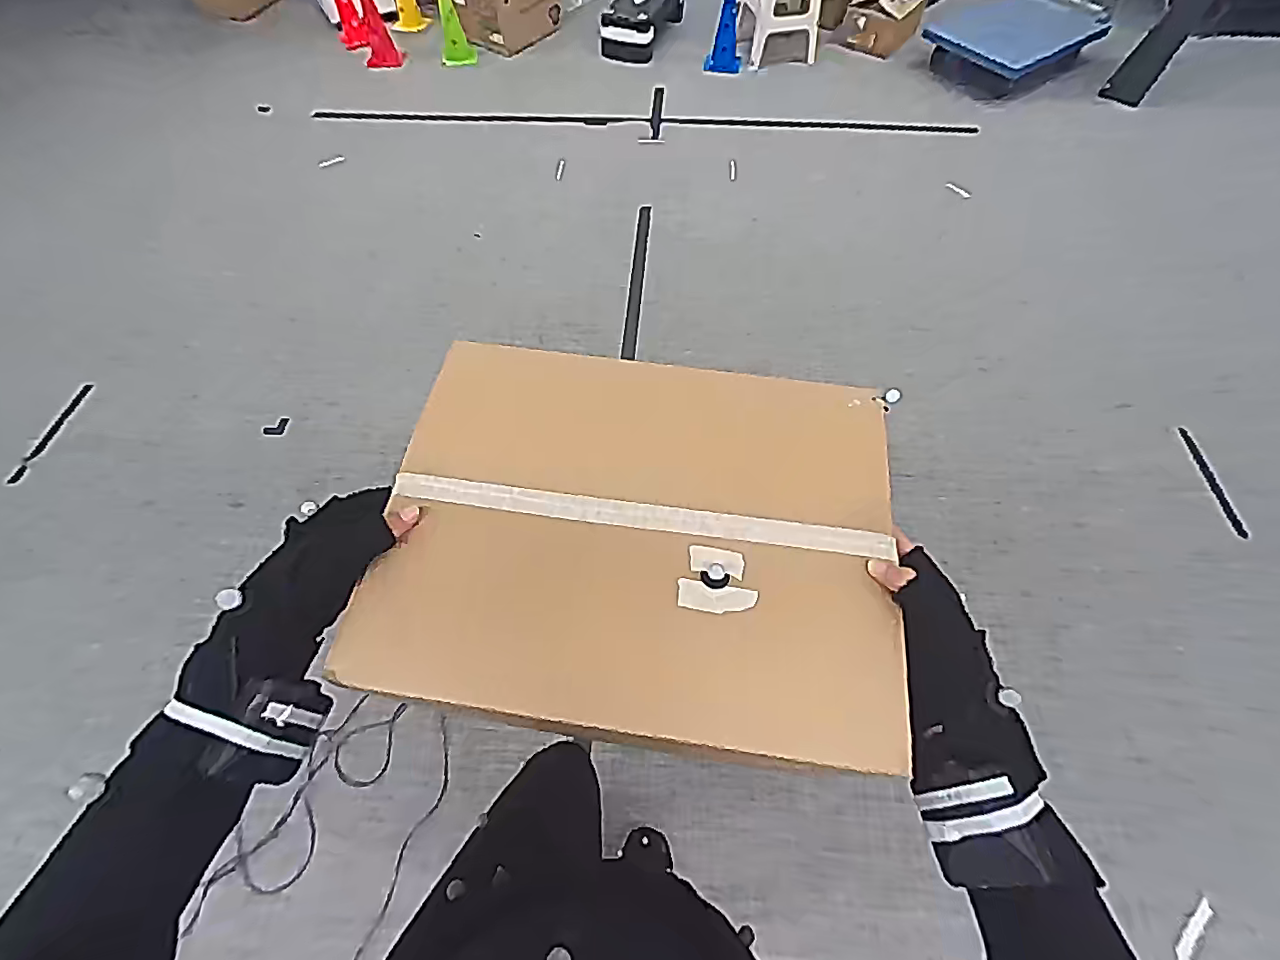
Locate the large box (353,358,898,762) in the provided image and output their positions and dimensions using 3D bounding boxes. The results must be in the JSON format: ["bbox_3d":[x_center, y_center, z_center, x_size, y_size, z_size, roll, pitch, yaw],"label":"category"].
[{"bbox_3d":[0.001,0.103,0.584,0.408,0.320,0.320,8,63,4],"label":"large box"}]
